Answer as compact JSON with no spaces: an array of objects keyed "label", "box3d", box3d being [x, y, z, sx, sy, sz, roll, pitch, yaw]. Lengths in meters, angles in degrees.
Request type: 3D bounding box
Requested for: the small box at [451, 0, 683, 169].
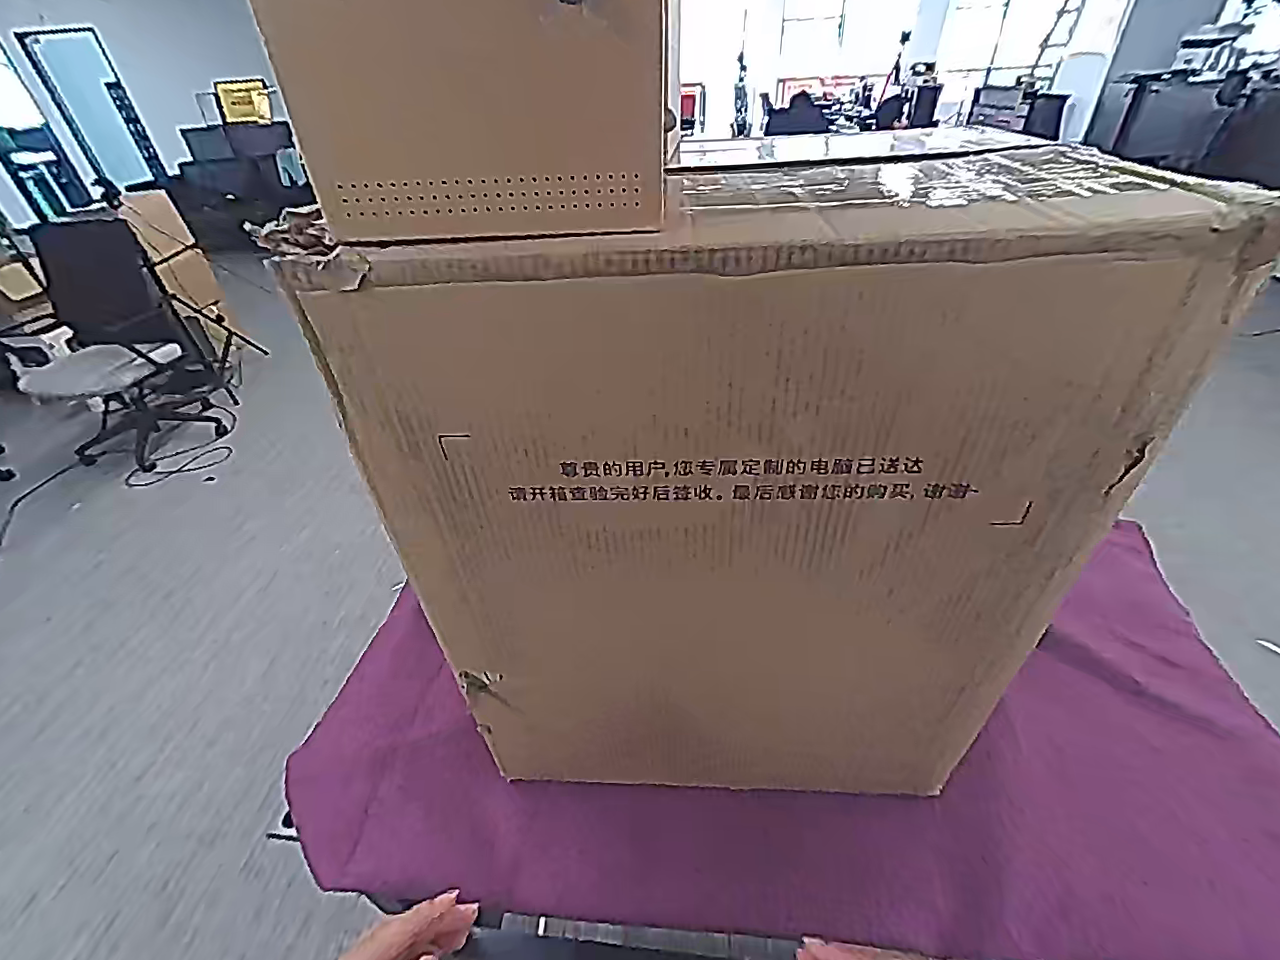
[{"label":"small box","box3d":[-0.049,-0.378,0.472,0.168,0.176,0.179,3,37,6]}]
